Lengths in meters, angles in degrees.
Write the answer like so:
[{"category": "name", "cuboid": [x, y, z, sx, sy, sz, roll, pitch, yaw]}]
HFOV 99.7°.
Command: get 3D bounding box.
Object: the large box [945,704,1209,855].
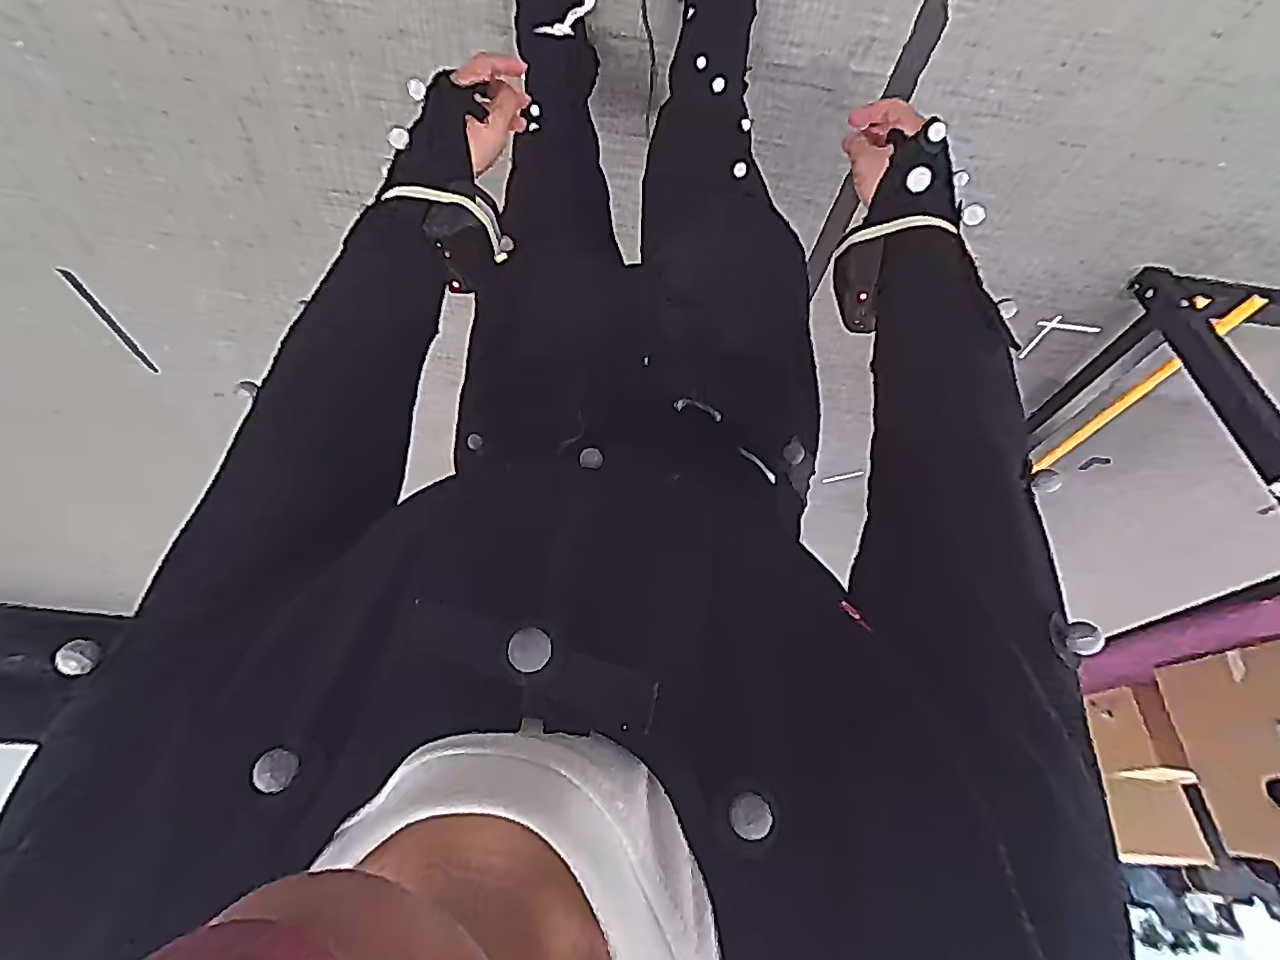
[{"category": "large box", "cuboid": [1.133, 0.811, 1.465, 0.408, 0.320, 0.320, 6, 147, -4]}]
